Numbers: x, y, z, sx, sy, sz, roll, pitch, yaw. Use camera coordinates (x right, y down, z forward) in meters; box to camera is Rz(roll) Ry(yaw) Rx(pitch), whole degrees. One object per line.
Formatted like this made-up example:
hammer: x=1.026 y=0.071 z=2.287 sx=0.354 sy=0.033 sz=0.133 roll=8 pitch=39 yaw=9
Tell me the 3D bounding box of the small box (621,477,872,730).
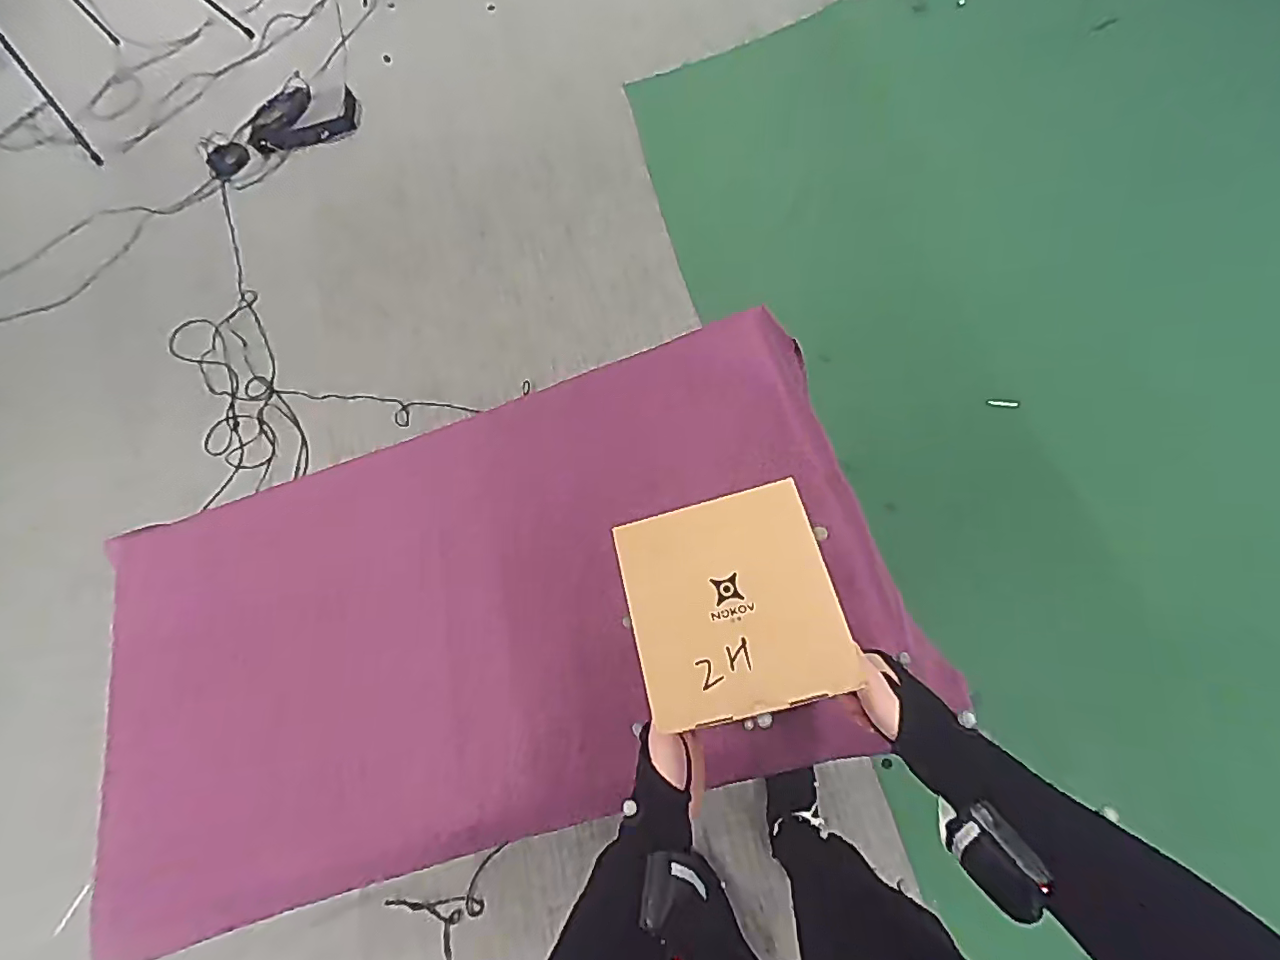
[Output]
small box: x=0.092 y=0.123 z=0.511 sx=0.168 sy=0.176 sz=0.179 roll=-16 pitch=67 yaw=6
